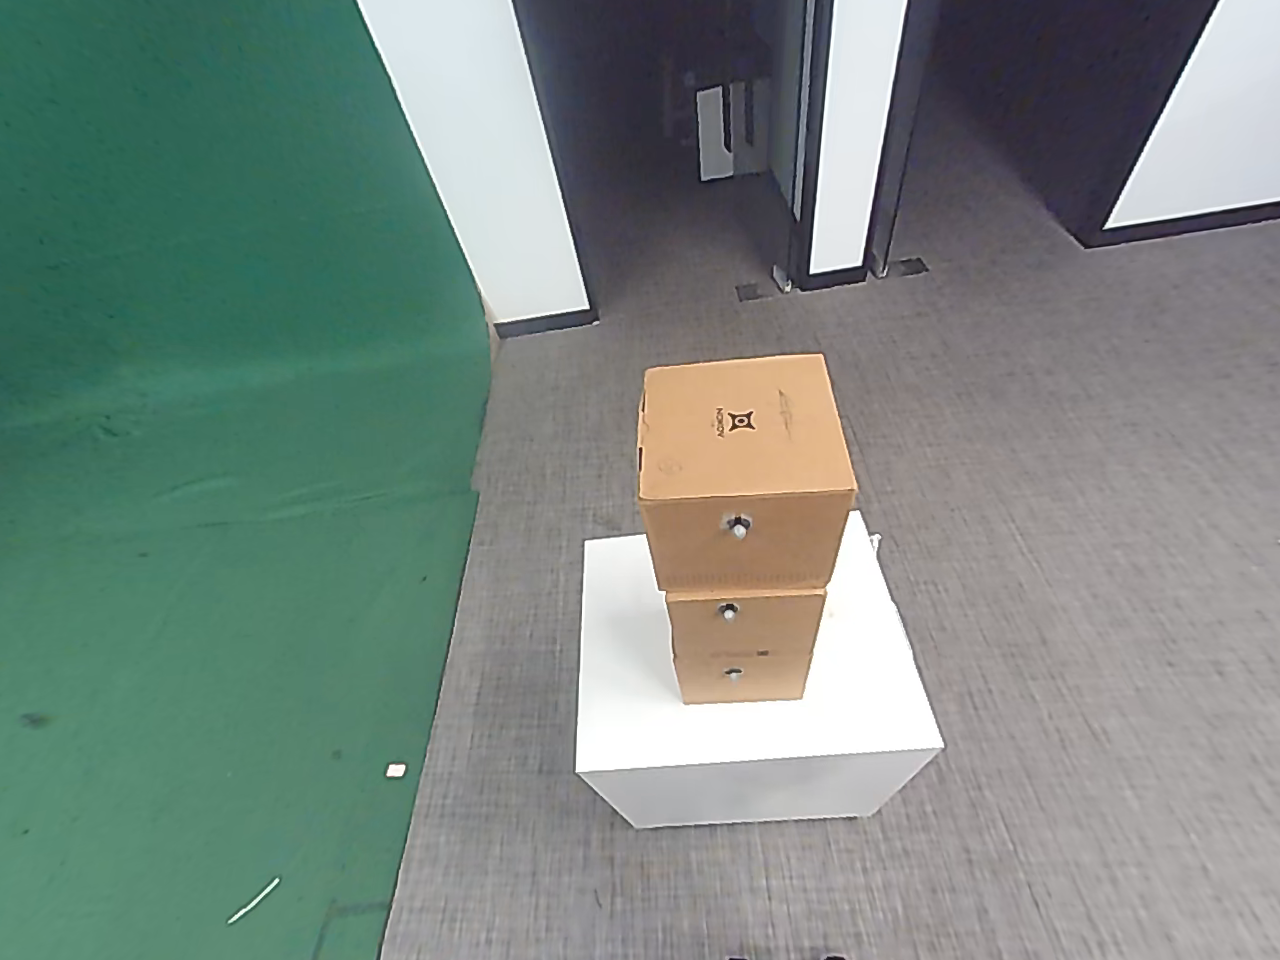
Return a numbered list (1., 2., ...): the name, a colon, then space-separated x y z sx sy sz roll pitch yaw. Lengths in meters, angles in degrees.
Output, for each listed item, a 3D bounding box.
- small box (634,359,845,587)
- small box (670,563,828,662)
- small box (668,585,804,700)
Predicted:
1. small box: 0.095 0.000 0.554 0.179 0.176 0.168 -3 52 8
2. small box: 0.122 0.108 0.675 0.168 0.176 0.179 -5 50 5
3. small box: 0.138 0.214 0.795 0.179 0.176 0.168 -5 49 7
